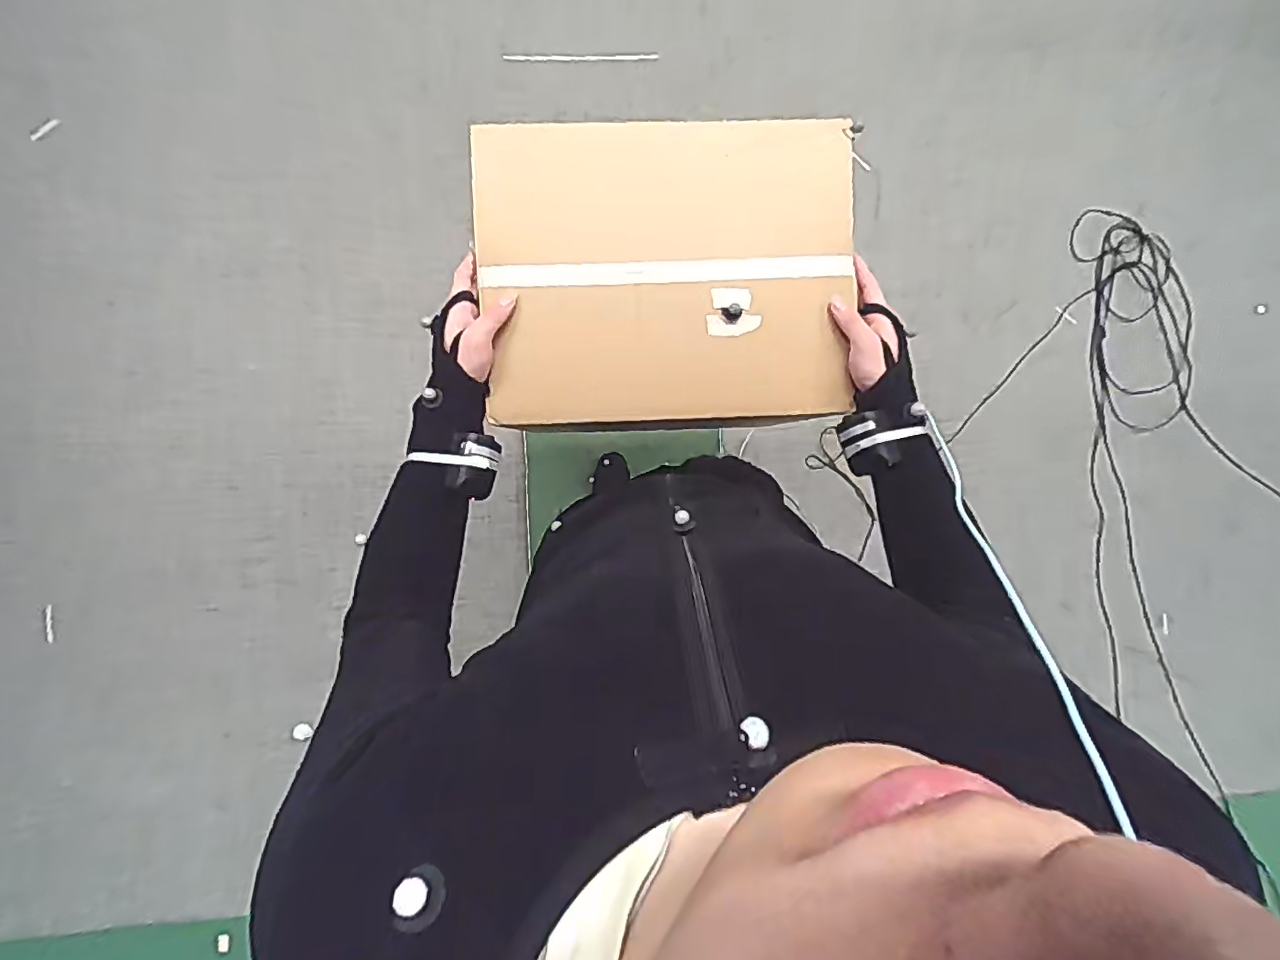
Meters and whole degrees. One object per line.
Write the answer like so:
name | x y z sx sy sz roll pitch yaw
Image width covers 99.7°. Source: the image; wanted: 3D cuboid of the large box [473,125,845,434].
large box | 0.018 -0.233 0.741 0.408 0.320 0.320 -3 94 -3
